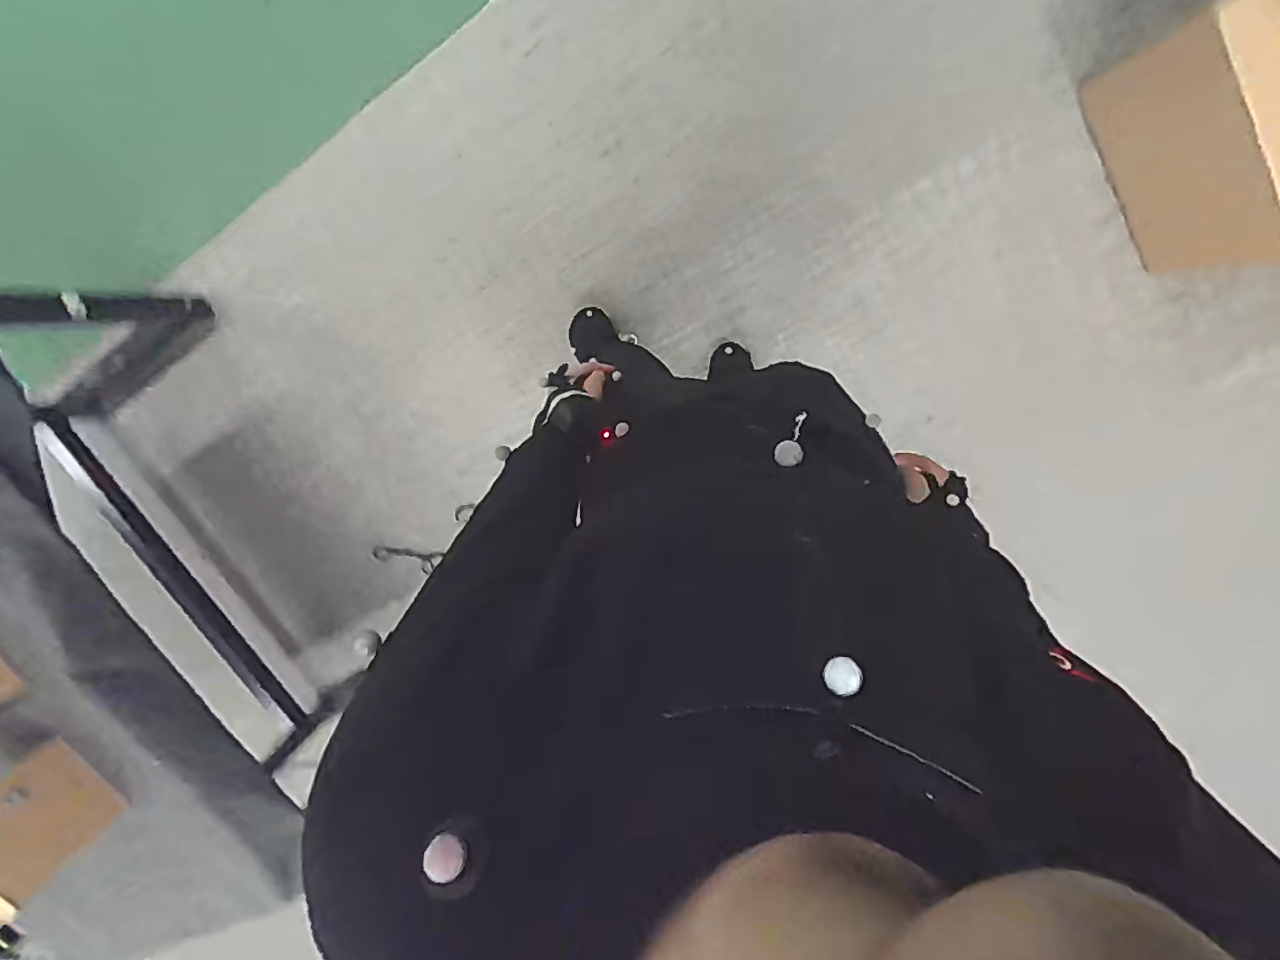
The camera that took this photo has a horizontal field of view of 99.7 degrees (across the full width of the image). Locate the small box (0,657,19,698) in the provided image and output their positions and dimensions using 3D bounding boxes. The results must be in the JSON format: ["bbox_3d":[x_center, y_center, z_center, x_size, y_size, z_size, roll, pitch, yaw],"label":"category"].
[{"bbox_3d":[-1.089,0.307,0.782,0.168,0.176,0.179,-30,101,16],"label":"small box"}]

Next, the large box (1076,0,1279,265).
[{"bbox_3d":[1.044,-0.628,0.893,0.320,0.320,0.408,-31,102,16],"label":"large box"}]

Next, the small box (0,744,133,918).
[{"bbox_3d":[-0.969,0.543,0.839,0.168,0.176,0.179,-32,102,17],"label":"small box"}]
